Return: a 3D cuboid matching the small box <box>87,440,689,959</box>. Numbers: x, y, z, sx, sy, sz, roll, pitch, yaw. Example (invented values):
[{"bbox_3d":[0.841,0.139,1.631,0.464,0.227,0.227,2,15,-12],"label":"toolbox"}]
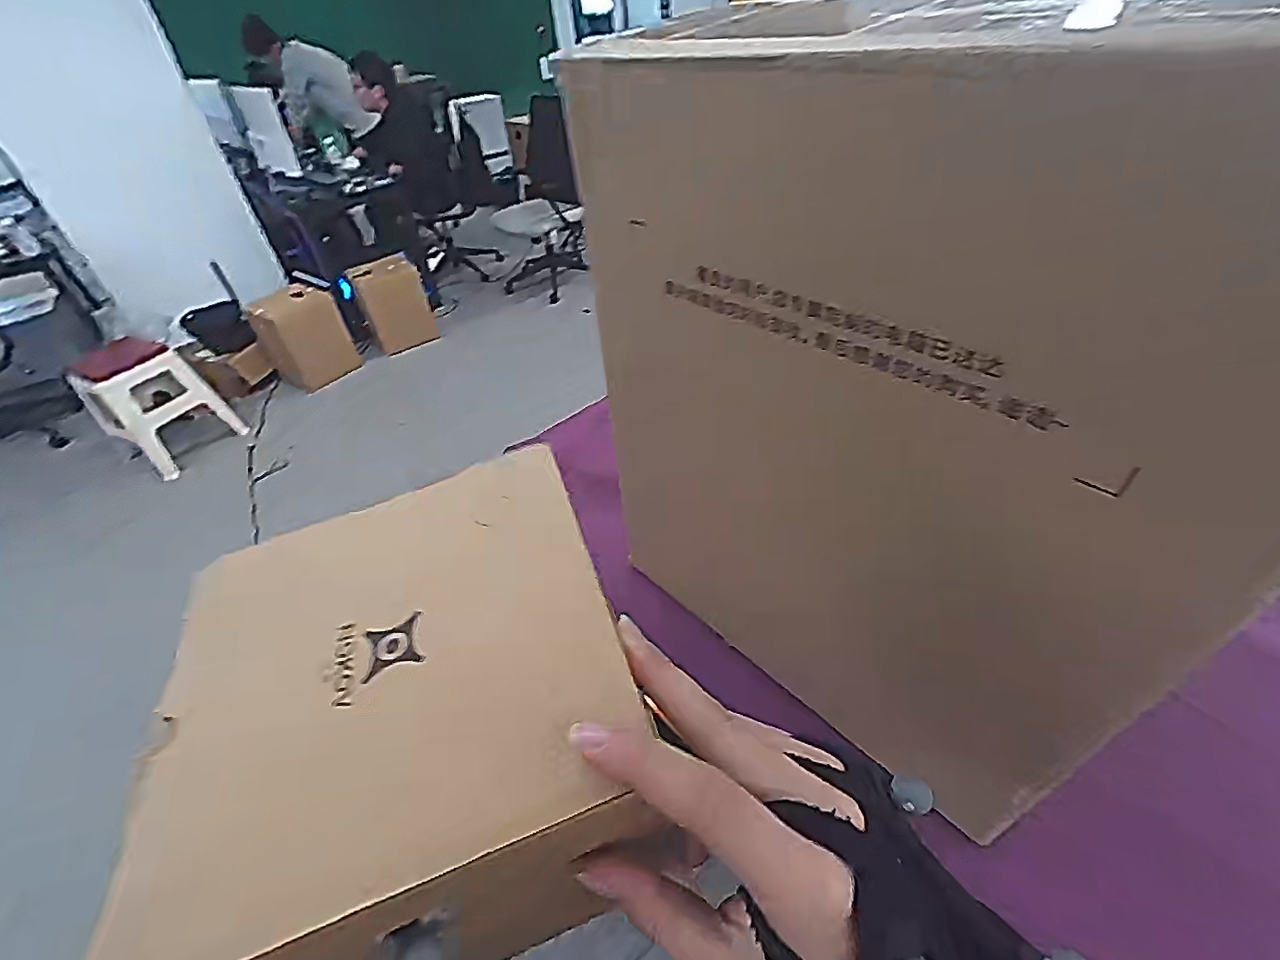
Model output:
[{"bbox_3d":[-0.083,0.115,0.263,0.179,0.176,0.168,-21,48,-6],"label":"small box"}]
